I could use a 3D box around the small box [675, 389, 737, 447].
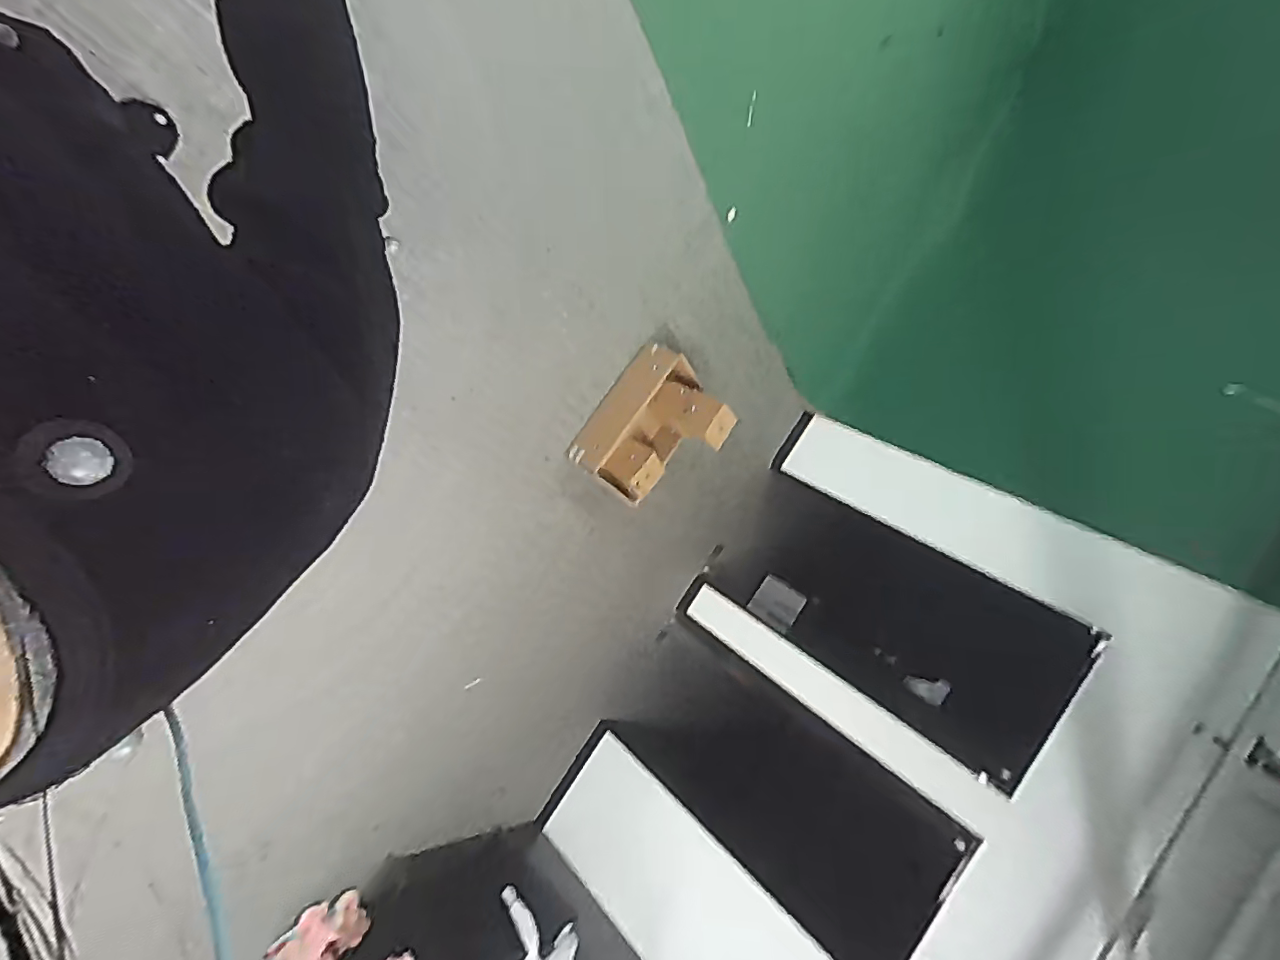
[{"bbox_3d":[0.284,-0.271,2.337,0.168,0.176,0.179,-57,146,-2],"label":"small box"}]
